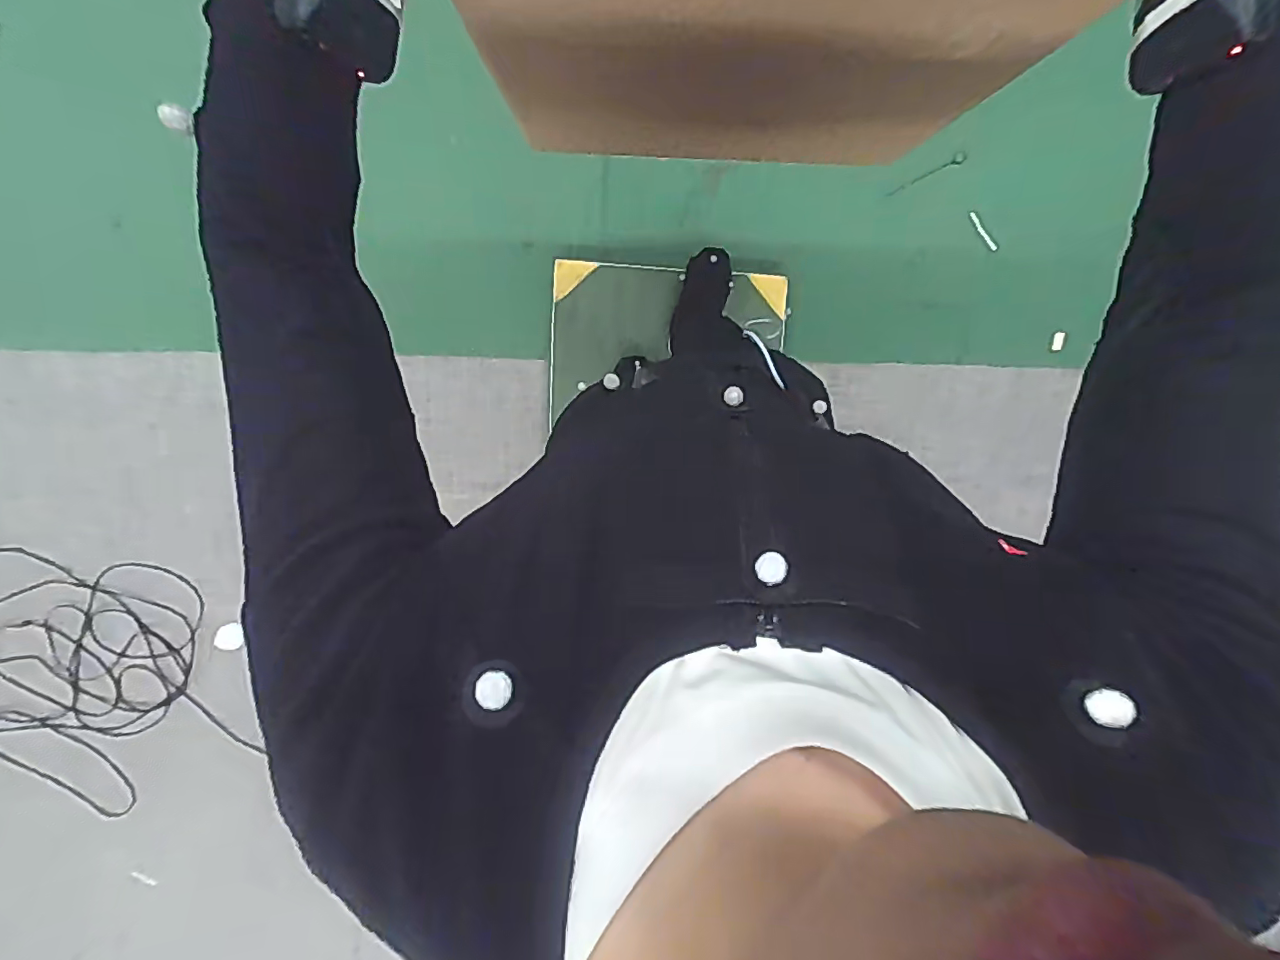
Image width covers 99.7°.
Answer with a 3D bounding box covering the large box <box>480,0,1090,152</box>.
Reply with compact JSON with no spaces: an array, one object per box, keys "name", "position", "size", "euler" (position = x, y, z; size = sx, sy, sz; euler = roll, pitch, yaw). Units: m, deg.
[{"name":"large box","position":[0.089,-0.476,0.418],"size":[0.408,0.320,0.320],"euler":[1,105,-2]}]
